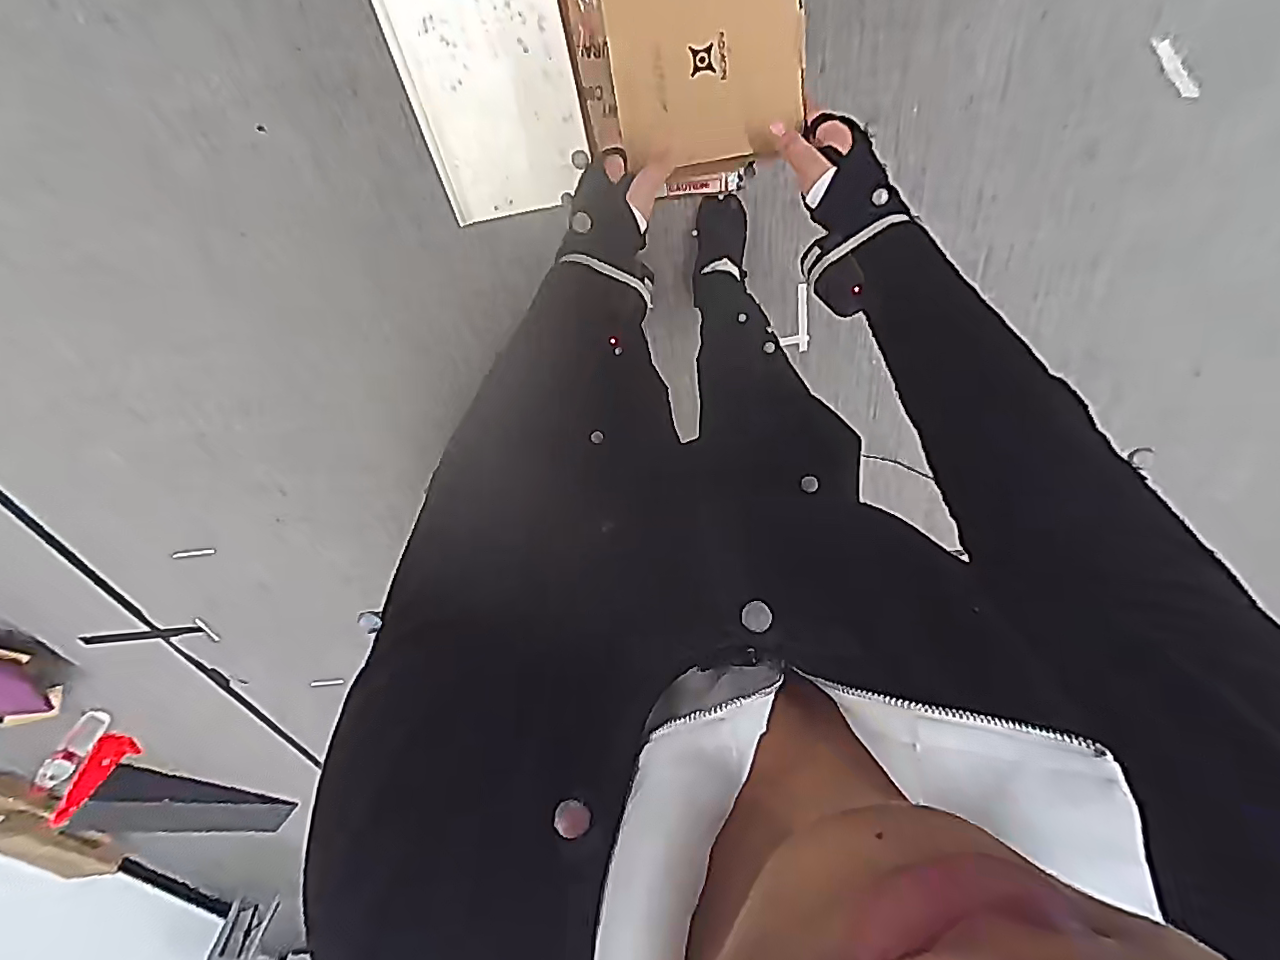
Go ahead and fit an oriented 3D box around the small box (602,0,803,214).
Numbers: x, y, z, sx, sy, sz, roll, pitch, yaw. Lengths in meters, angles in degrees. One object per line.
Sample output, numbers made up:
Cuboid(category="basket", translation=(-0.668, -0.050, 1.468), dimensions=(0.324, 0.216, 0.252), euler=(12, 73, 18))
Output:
Cuboid(category="small box", translation=(0.066, -0.395, 0.583), dimensions=(0.179, 0.176, 0.168), euler=(-8, 112, 7))
